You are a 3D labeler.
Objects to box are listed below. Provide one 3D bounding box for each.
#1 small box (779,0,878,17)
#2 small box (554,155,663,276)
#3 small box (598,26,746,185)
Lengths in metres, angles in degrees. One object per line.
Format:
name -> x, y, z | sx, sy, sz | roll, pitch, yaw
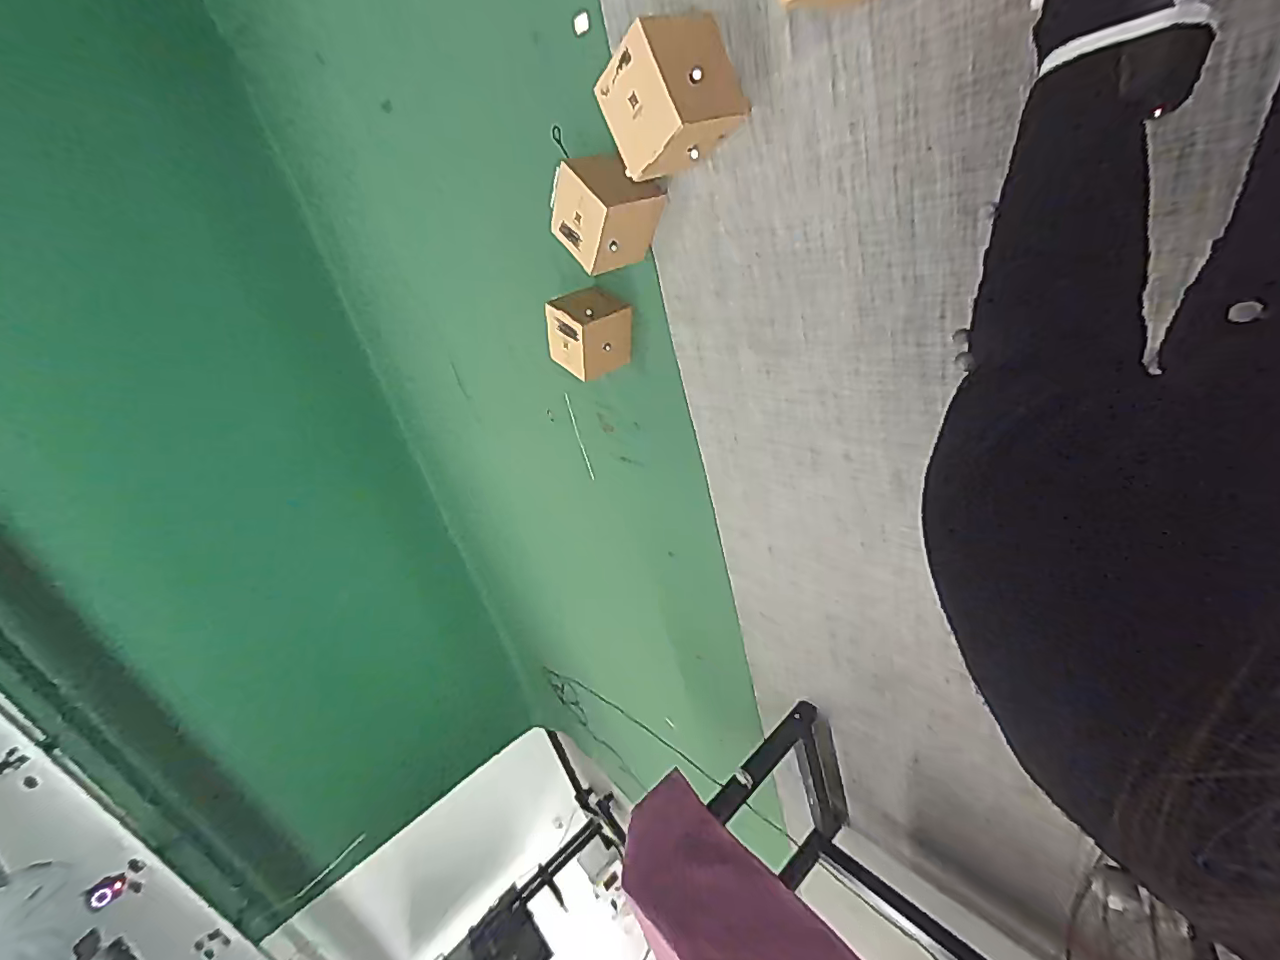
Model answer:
small box -> 0.274, -0.688, 0.637 | 0.179, 0.176, 0.168 | 14, 127, 50
small box -> -0.072, -0.603, 1.232 | 0.168, 0.176, 0.179 | 52, 148, 14
small box -> 0.060, -0.673, 0.973 | 0.168, 0.176, 0.179 | -10, 108, 59
